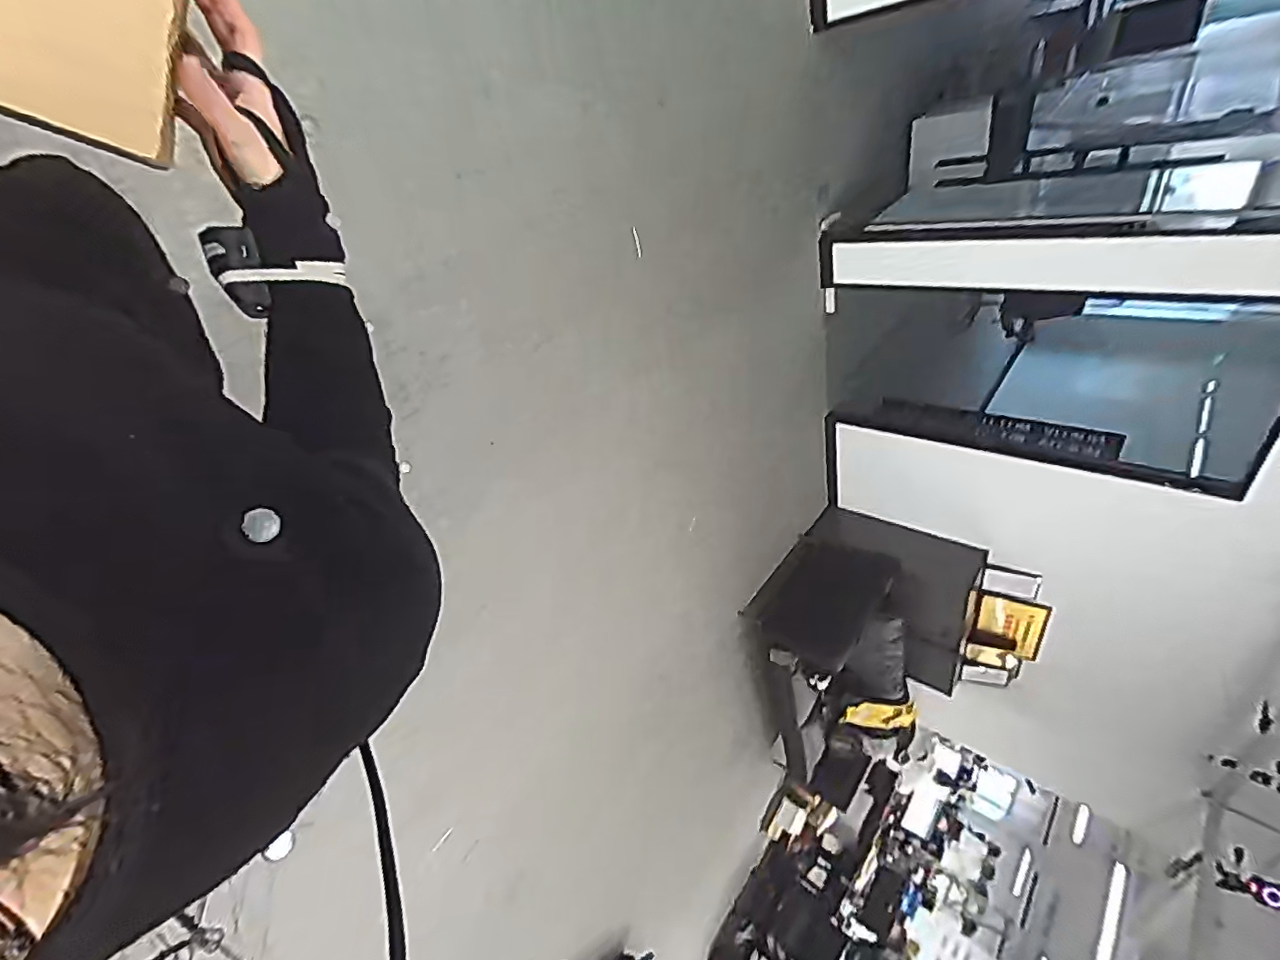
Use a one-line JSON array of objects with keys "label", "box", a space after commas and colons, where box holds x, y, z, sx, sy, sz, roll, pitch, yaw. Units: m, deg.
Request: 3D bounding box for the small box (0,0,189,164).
[{"label": "small box", "box": [-0.362, -0.302, 0.299, 0.168, 0.176, 0.179, 7, 106, -42]}]
